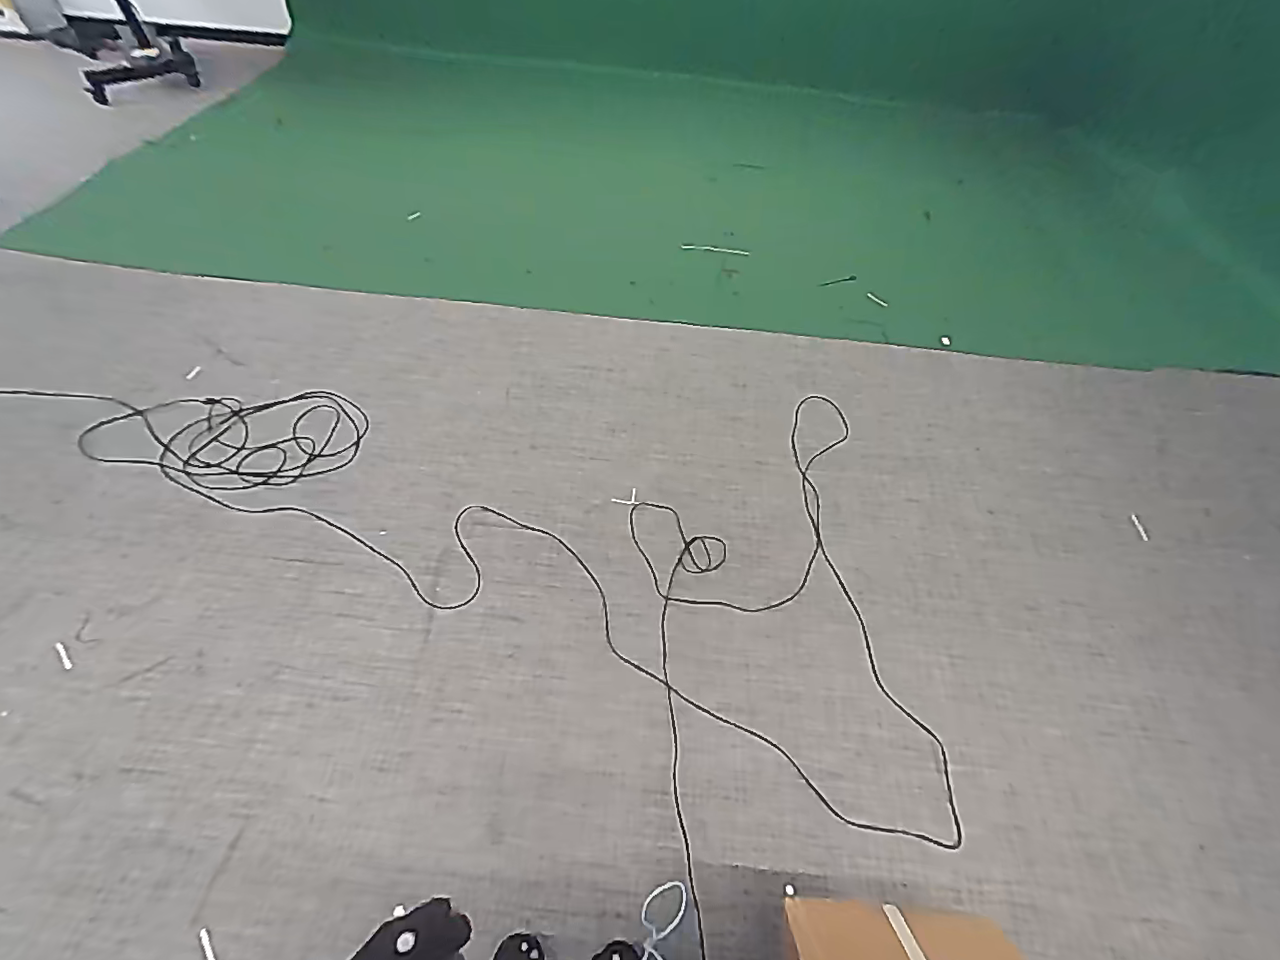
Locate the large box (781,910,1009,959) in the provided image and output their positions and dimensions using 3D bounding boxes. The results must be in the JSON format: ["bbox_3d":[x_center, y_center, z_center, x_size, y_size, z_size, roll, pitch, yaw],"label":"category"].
[{"bbox_3d":[0.354,0.810,0.618,0.320,0.408,0.320,4,89,3],"label":"large box"}]
